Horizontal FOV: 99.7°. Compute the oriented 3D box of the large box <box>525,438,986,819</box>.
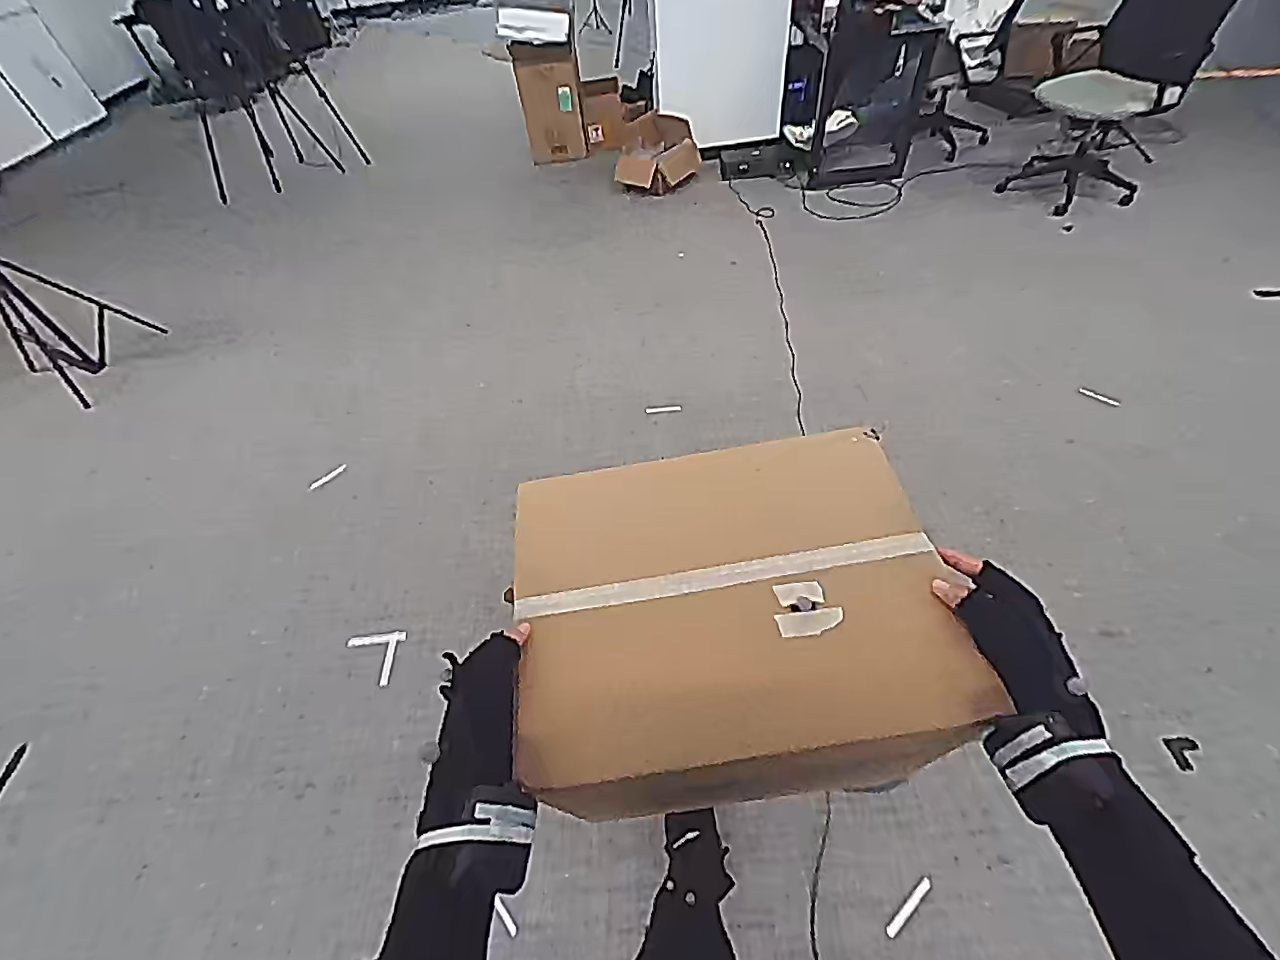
[{"bbox_3d":[0.094,0.192,0.662,0.408,0.320,0.320,-9,54,1],"label":"large box"}]
